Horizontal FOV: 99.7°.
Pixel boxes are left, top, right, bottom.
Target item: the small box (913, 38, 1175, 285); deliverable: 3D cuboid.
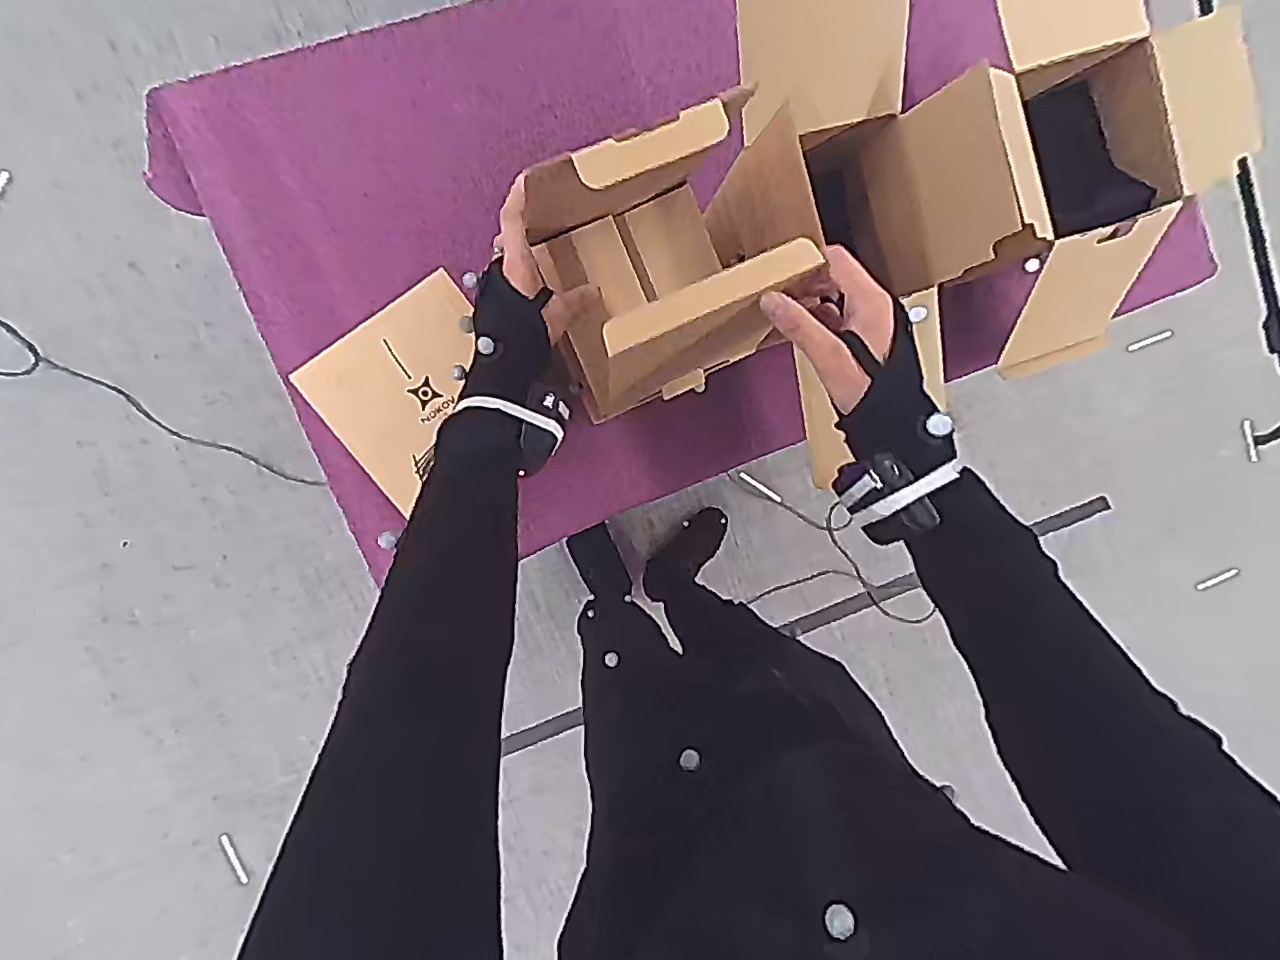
[{"bbox_3d":[0.456,-0.356,0.637,0.168,0.176,0.179,-19,97,-6],"label":"small box"}]
